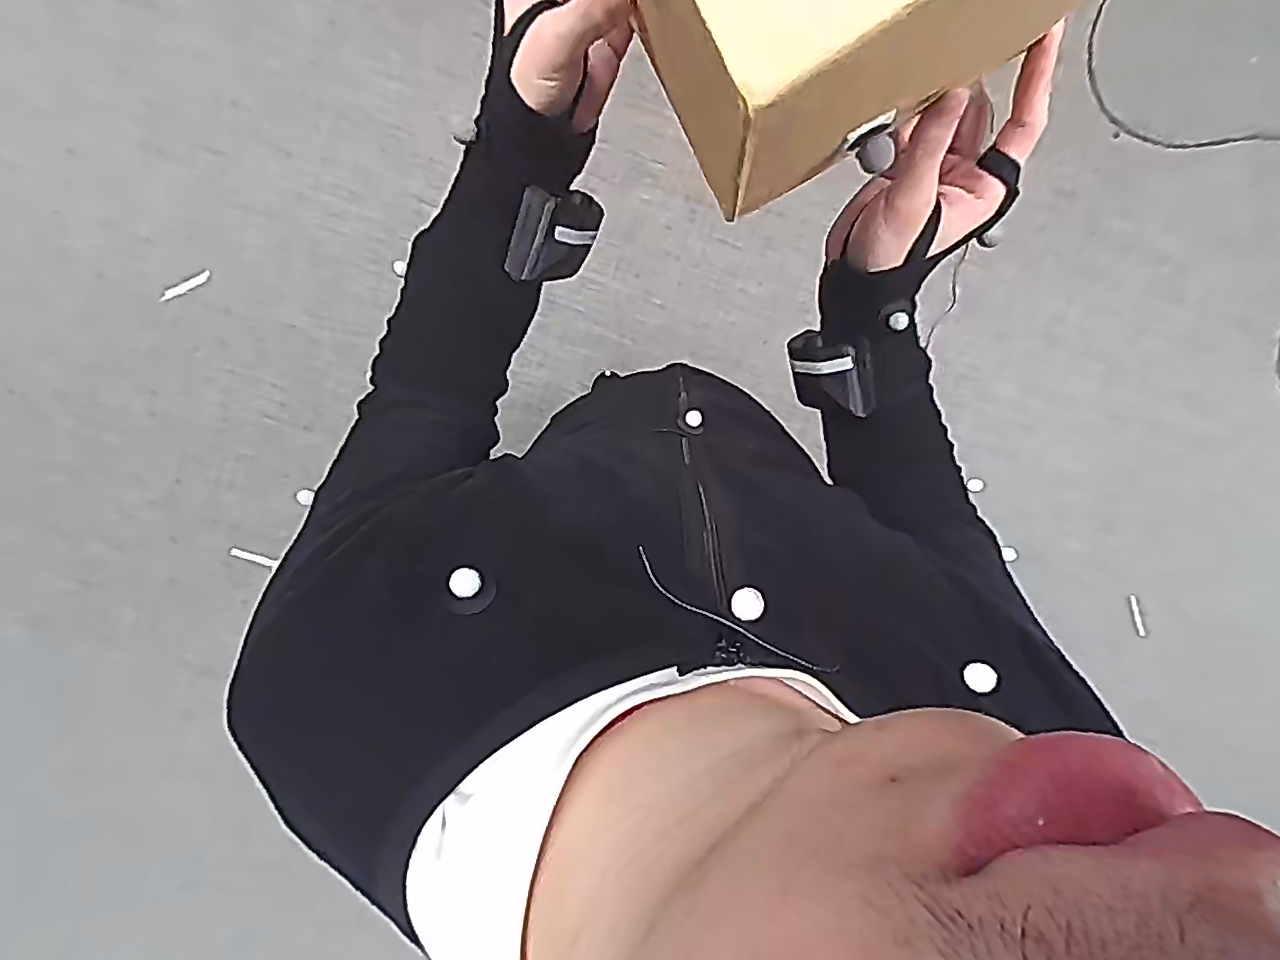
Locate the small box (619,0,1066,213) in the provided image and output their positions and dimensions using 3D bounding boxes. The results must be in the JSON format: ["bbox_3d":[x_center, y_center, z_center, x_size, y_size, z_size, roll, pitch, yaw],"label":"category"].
[{"bbox_3d":[0.069,-0.237,0.205,0.168,0.176,0.179,-27,100,15],"label":"small box"}]
